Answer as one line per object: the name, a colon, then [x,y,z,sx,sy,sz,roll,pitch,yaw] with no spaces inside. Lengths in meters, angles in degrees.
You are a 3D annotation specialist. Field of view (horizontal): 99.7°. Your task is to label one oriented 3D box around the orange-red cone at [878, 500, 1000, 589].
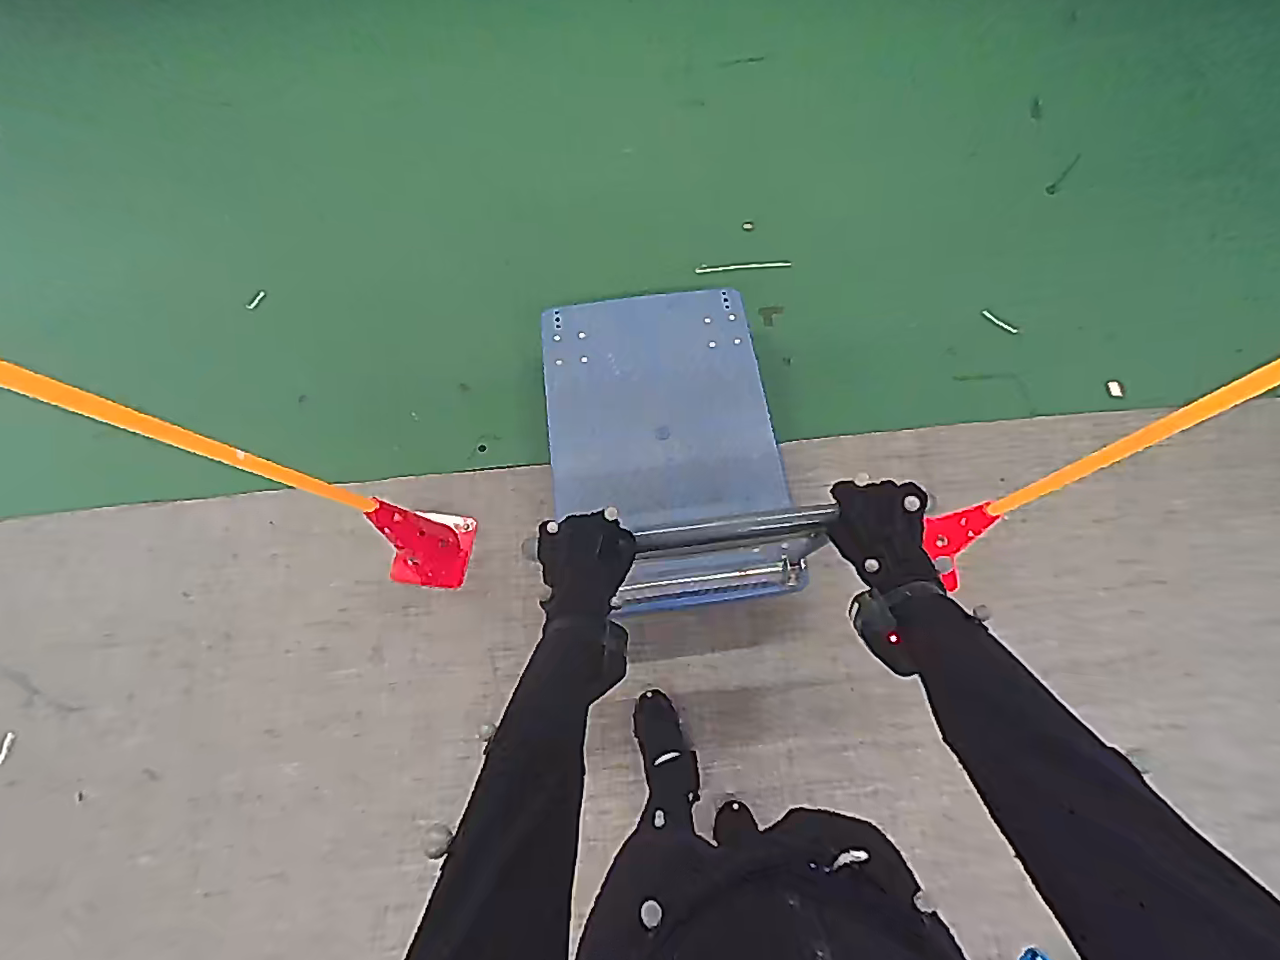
orange-red cone: [0.726,0.123,1.268,0.198,0.360,0.199,5,70,4]
